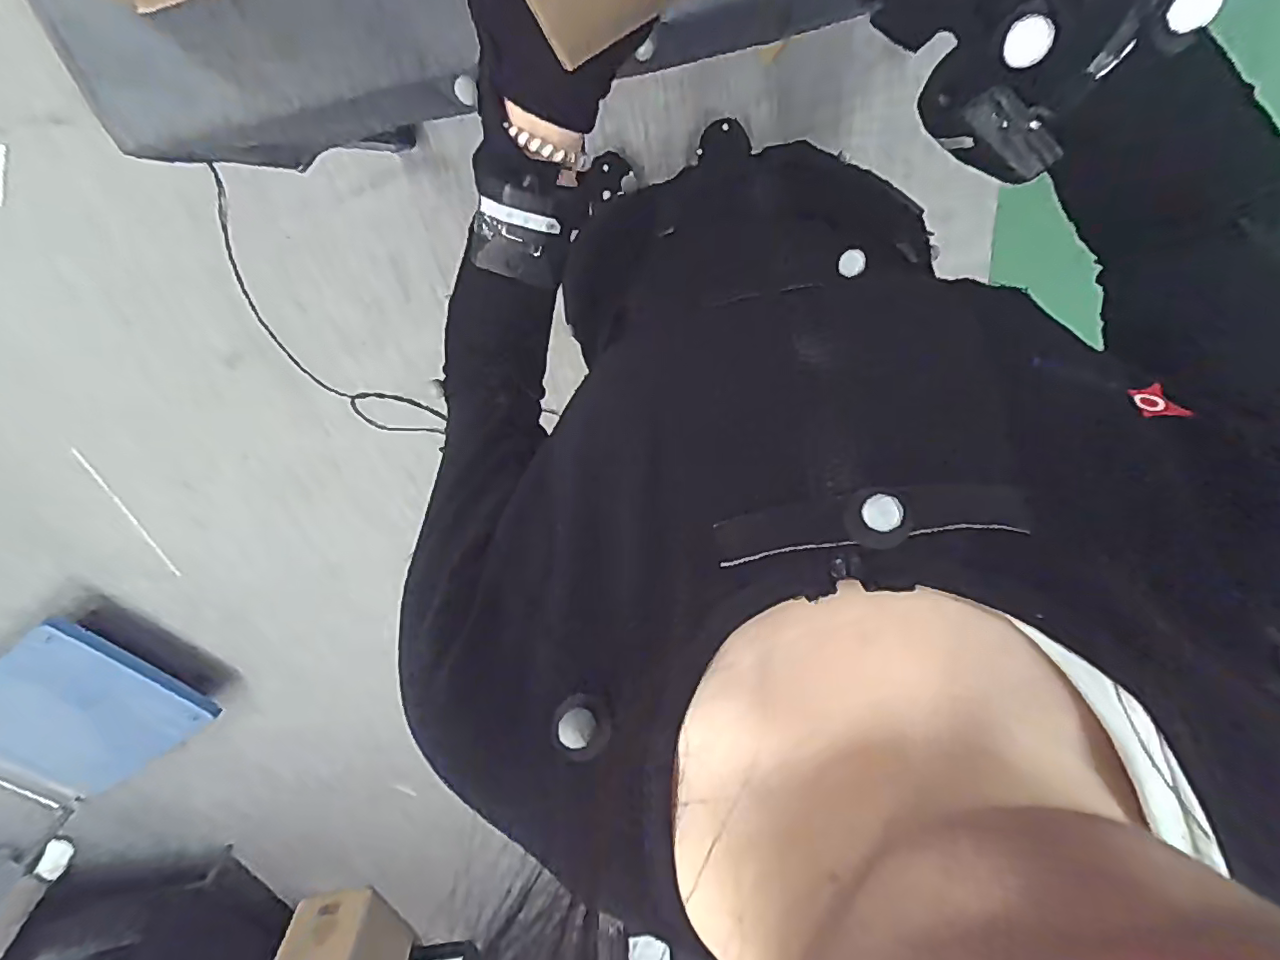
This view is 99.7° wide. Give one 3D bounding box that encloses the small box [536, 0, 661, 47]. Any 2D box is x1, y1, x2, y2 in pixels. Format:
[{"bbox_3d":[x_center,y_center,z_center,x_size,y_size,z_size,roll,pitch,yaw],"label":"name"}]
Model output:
[{"bbox_3d":[-0.010,-0.302,0.181,0.168,0.176,0.179,-24,113,12],"label":"small box"}]
